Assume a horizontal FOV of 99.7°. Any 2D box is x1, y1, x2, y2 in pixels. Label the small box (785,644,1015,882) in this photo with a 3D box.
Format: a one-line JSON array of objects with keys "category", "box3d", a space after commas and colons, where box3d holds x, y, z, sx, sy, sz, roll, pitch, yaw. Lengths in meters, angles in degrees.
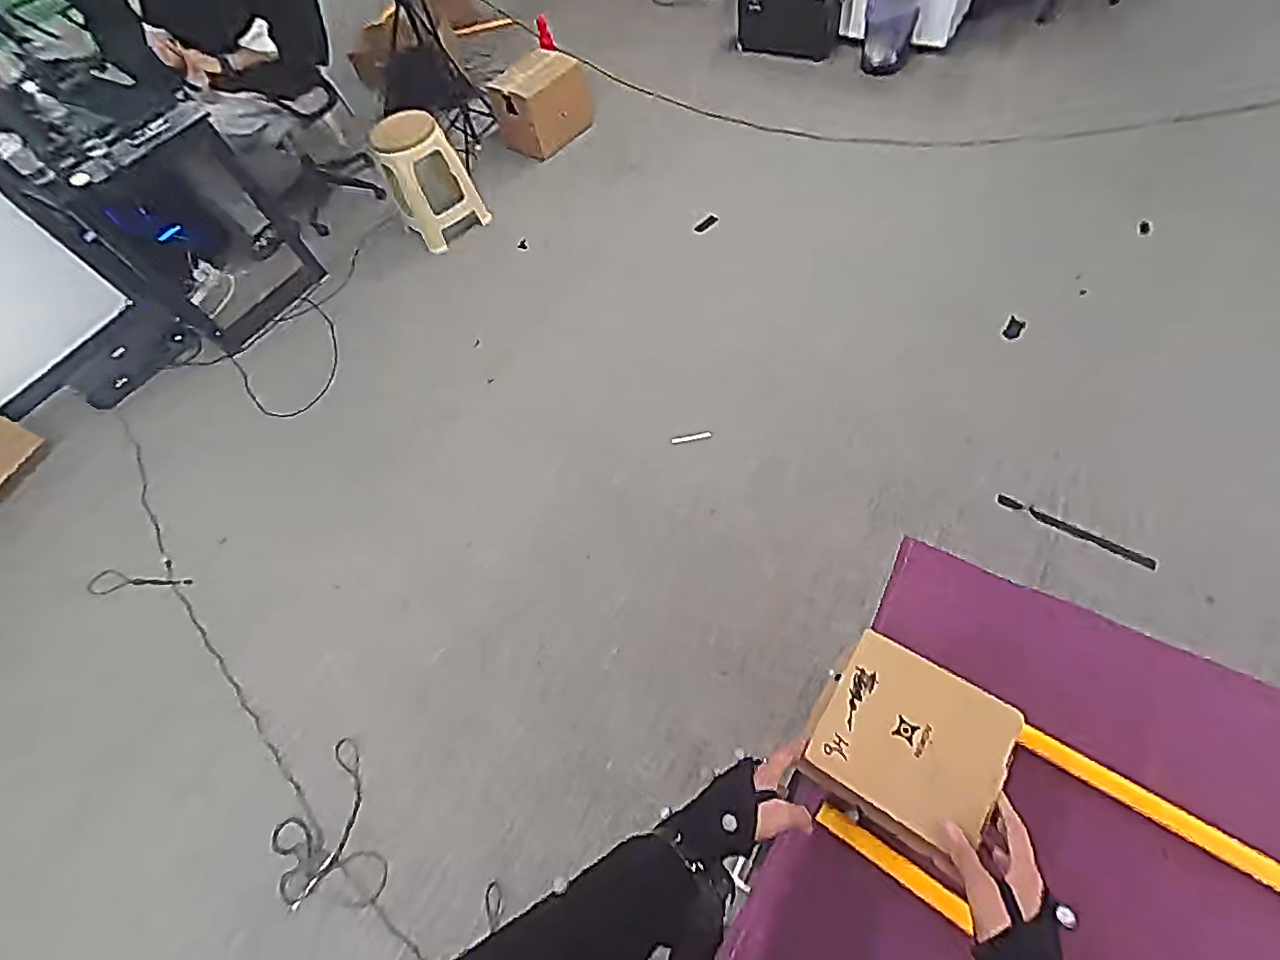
[{"category": "small box", "box3d": [0.296, 0.328, 0.651, 0.179, 0.176, 0.168, 29, 69, 22]}]
